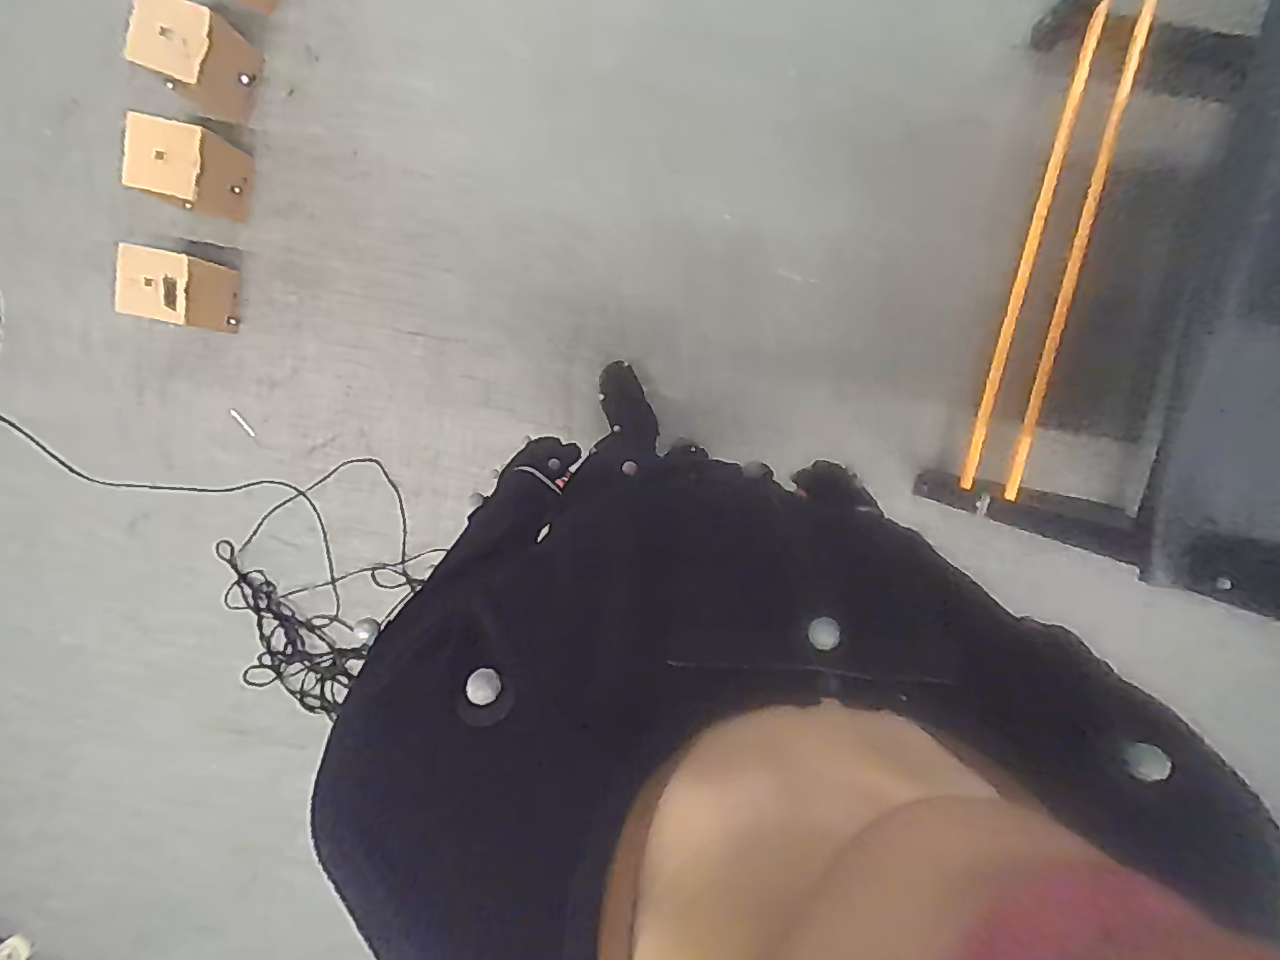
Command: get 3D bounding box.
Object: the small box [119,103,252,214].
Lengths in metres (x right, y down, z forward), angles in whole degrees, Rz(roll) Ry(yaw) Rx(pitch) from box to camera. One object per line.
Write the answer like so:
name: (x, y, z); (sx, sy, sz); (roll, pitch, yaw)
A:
small box: (-1.103, -0.774, 1.321); (0.179, 0.176, 0.168); (12, 98, -1)

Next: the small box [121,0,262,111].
small box: (-1.057, -1.024, 1.285); (0.179, 0.176, 0.168); (20, 98, -2)

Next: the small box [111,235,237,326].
small box: (-1.160, -0.492, 1.358); (0.179, 0.176, 0.168); (11, 98, 1)
